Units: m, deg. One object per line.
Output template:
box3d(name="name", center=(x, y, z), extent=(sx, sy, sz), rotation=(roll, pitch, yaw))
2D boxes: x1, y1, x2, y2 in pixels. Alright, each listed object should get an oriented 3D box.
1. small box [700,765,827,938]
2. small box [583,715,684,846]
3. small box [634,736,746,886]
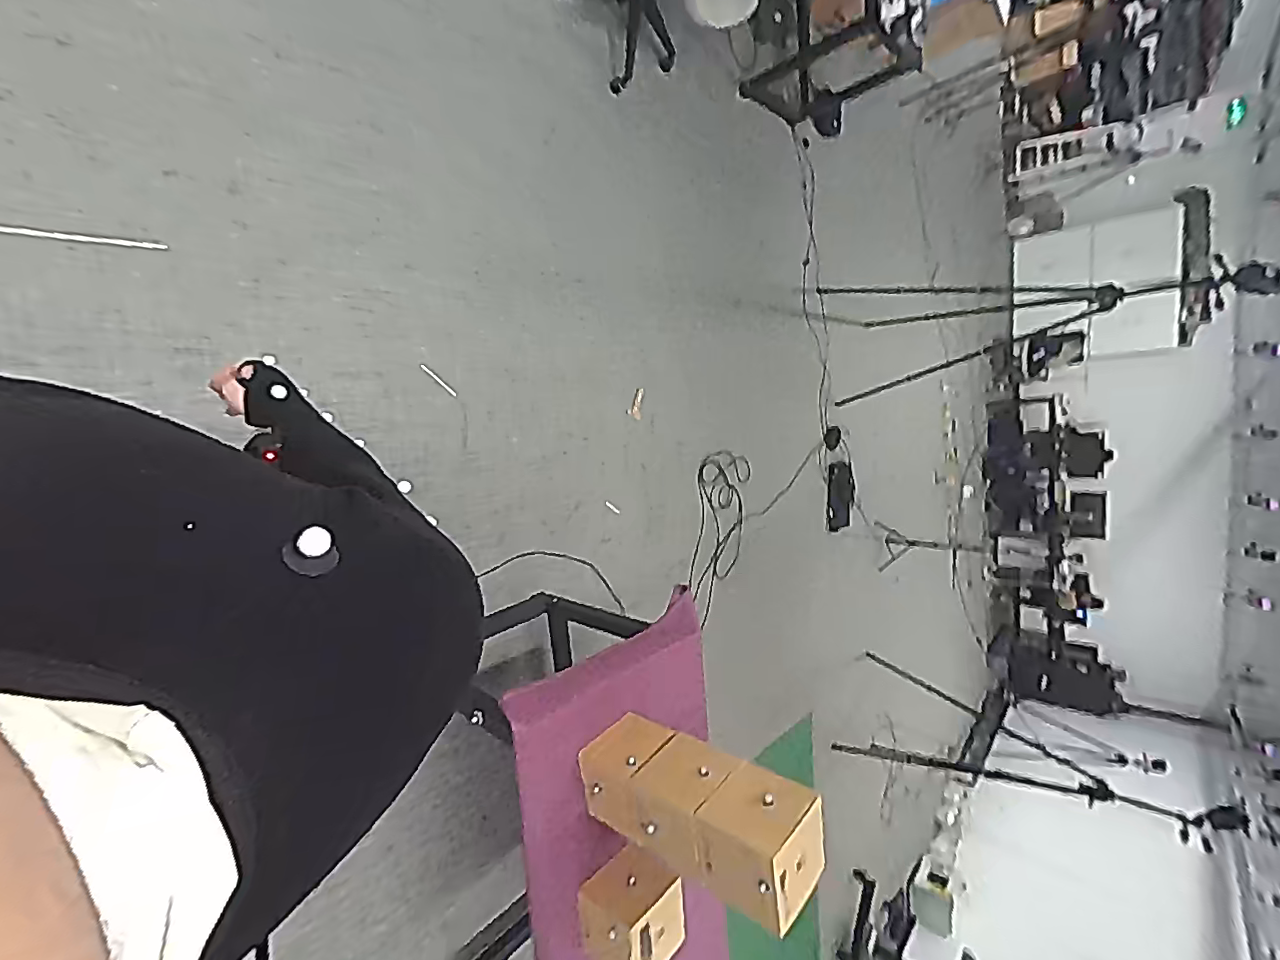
box3d(name="small box", center=(0.232, 0.676, 1.012), extent=(0.179, 0.176, 0.168), rotation=(-19, 105, -45))
box3d(name="small box", center=(-0.006, 0.673, 1.239), extent=(0.179, 0.176, 0.168), rotation=(-20, 106, -44))
box3d(name="small box", center=(0.112, 0.671, 1.124), extent=(0.179, 0.176, 0.168), rotation=(-21, 107, -44))
